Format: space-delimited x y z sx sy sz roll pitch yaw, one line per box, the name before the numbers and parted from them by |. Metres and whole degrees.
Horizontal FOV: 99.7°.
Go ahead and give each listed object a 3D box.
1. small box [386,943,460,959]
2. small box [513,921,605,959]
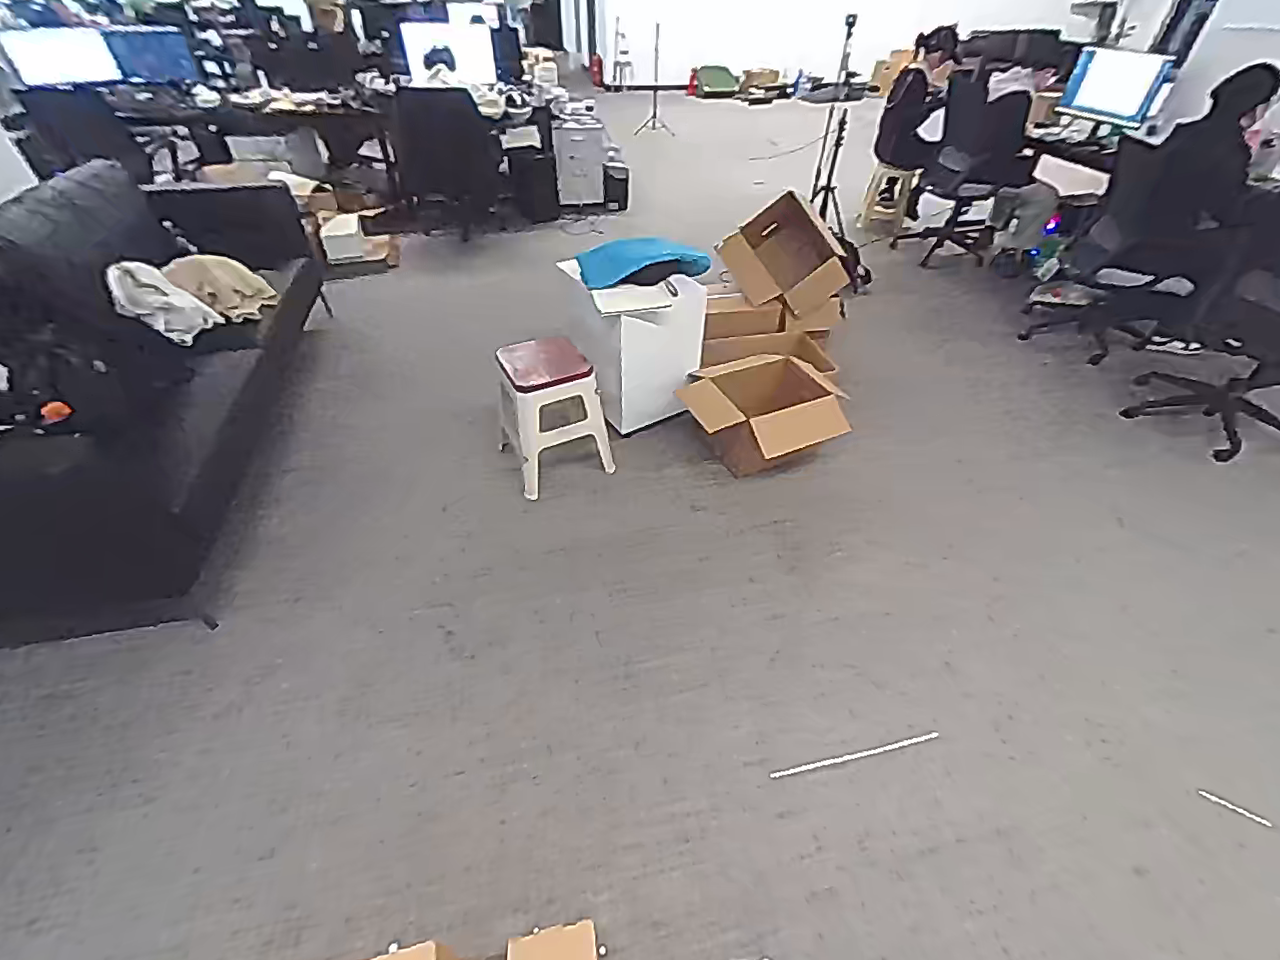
small box | -0.391 0.886 0.868 0.179 0.176 0.168 -10 44 -12
small box | -0.145 0.973 1.020 0.168 0.176 0.179 -7 44 -8
